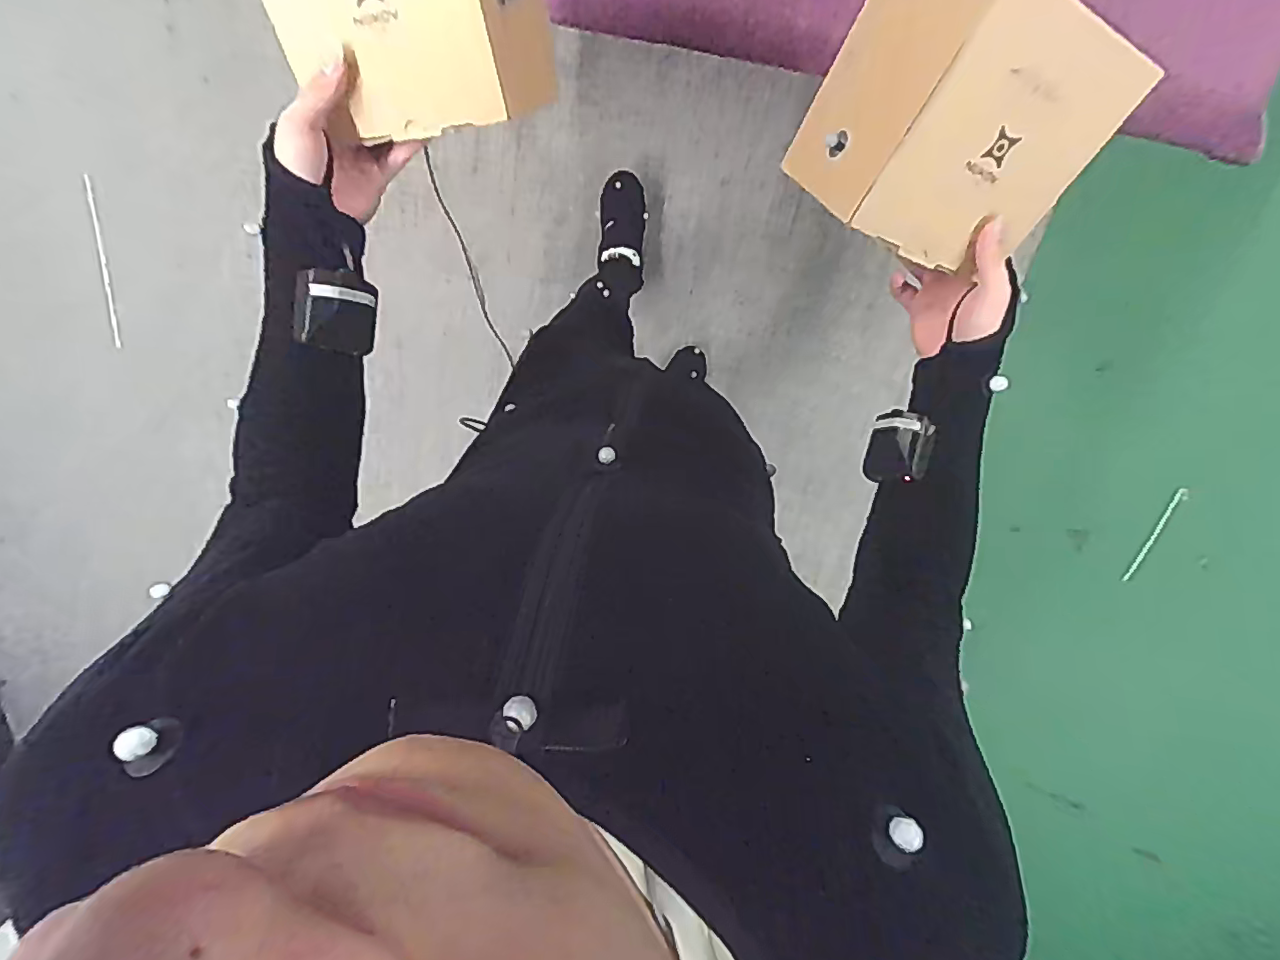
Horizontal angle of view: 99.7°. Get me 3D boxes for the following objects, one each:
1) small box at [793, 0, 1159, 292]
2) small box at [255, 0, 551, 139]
[{"bbox_3d":[0.256,-0.301,0.465,0.168,0.176,0.179,12,130,-23],"label":"small box"},{"bbox_3d":[-0.182,-0.393,0.428,0.168,0.176,0.179,-1,131,10],"label":"small box"}]
